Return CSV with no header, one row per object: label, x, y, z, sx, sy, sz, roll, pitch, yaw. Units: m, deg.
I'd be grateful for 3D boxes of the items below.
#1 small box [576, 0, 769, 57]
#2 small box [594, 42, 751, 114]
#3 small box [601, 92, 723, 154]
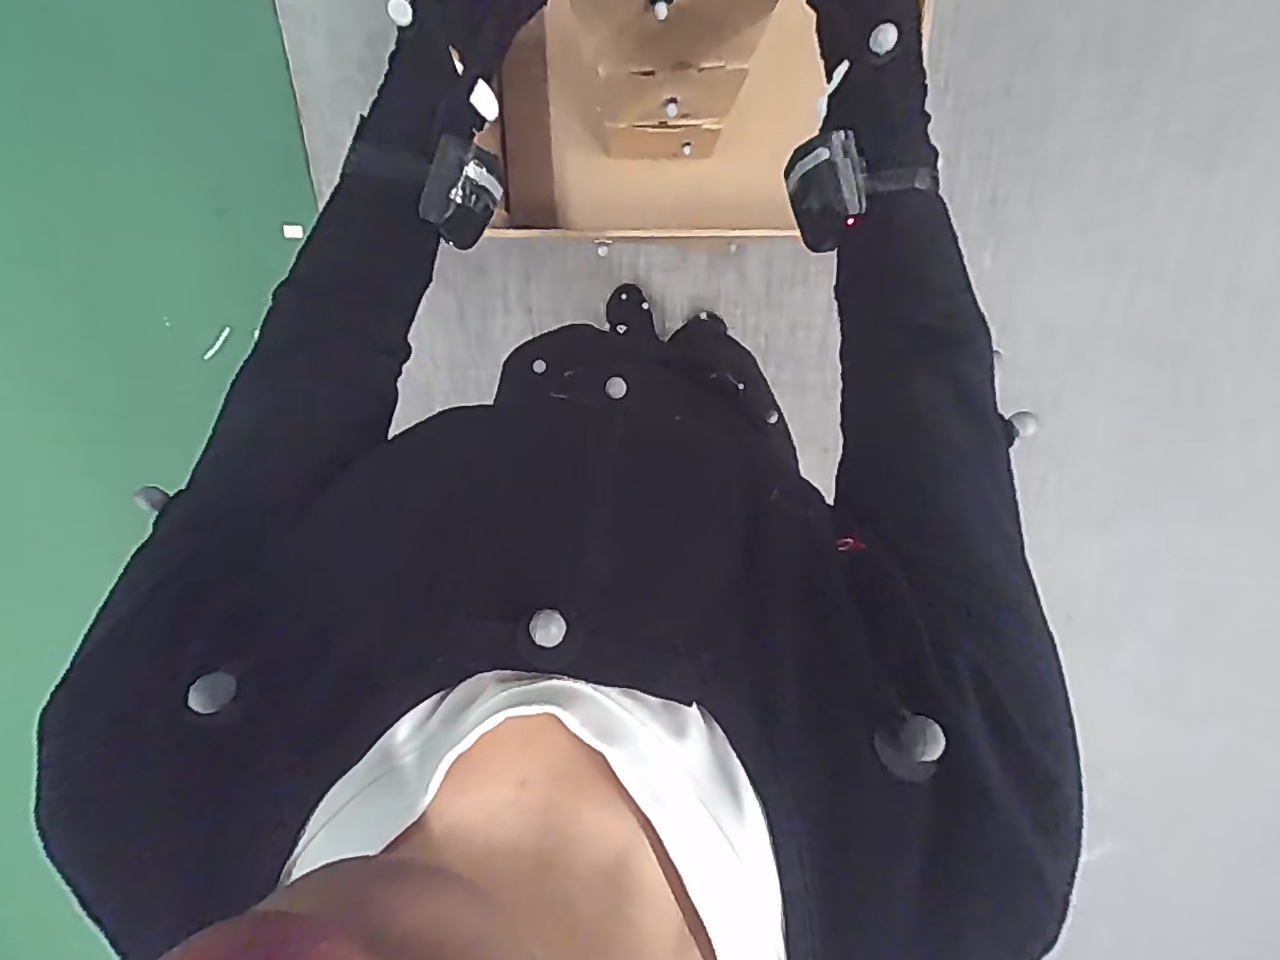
small box,0.029,-0.486,0.455,0.179,0.176,0.168,-1,109,-1
small box,0.032,-0.535,0.612,0.168,0.176,0.179,-3,109,1
small box,0.031,-0.580,0.770,0.168,0.176,0.179,0,107,0
